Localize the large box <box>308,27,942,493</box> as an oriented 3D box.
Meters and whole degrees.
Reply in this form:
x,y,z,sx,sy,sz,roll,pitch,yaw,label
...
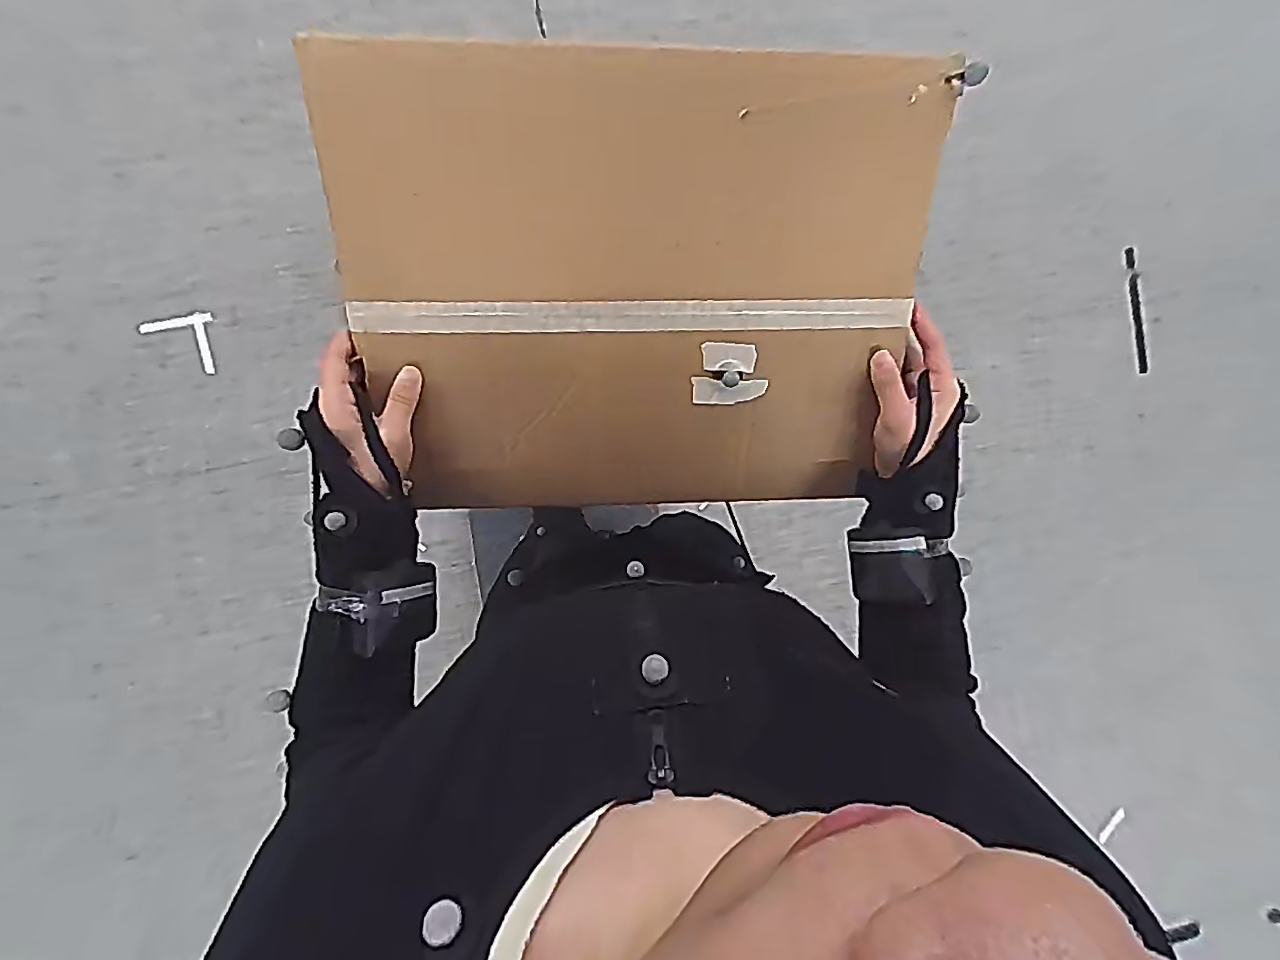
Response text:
x,y,z,sx,sy,sz,roll,pitch,yaw,label
-0.015,-0.199,0.531,0.408,0.320,0.320,-2,117,-5,large box
